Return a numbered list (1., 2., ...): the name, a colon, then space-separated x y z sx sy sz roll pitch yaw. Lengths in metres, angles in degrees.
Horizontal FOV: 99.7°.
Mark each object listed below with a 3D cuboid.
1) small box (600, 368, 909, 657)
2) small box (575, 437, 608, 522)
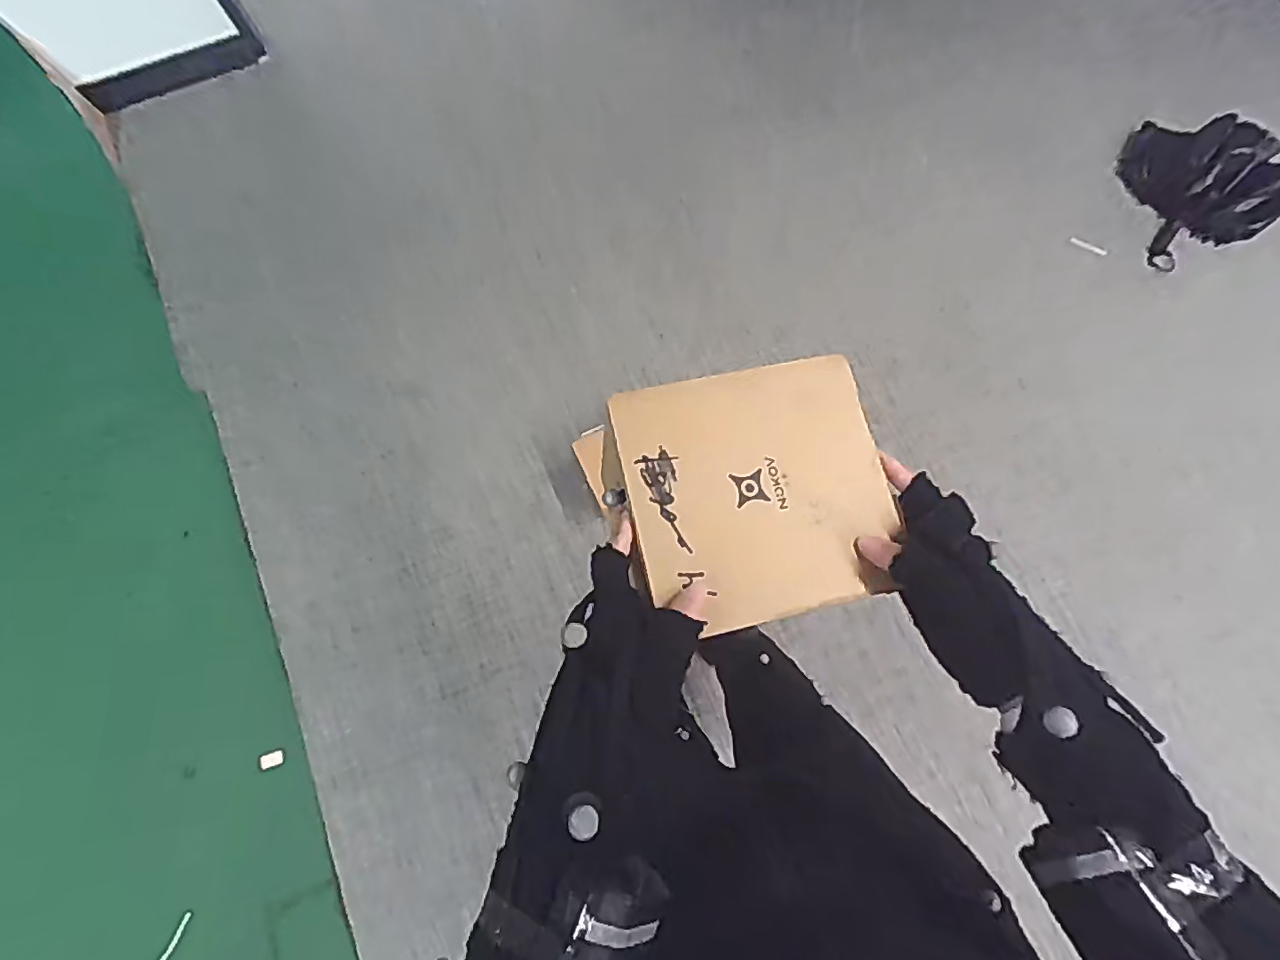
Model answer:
1. small box: 0.070 0.033 0.440 0.179 0.176 0.168 -15 77 -8
2. small box: -0.031 -0.011 1.252 0.179 0.176 0.168 -26 78 -4
